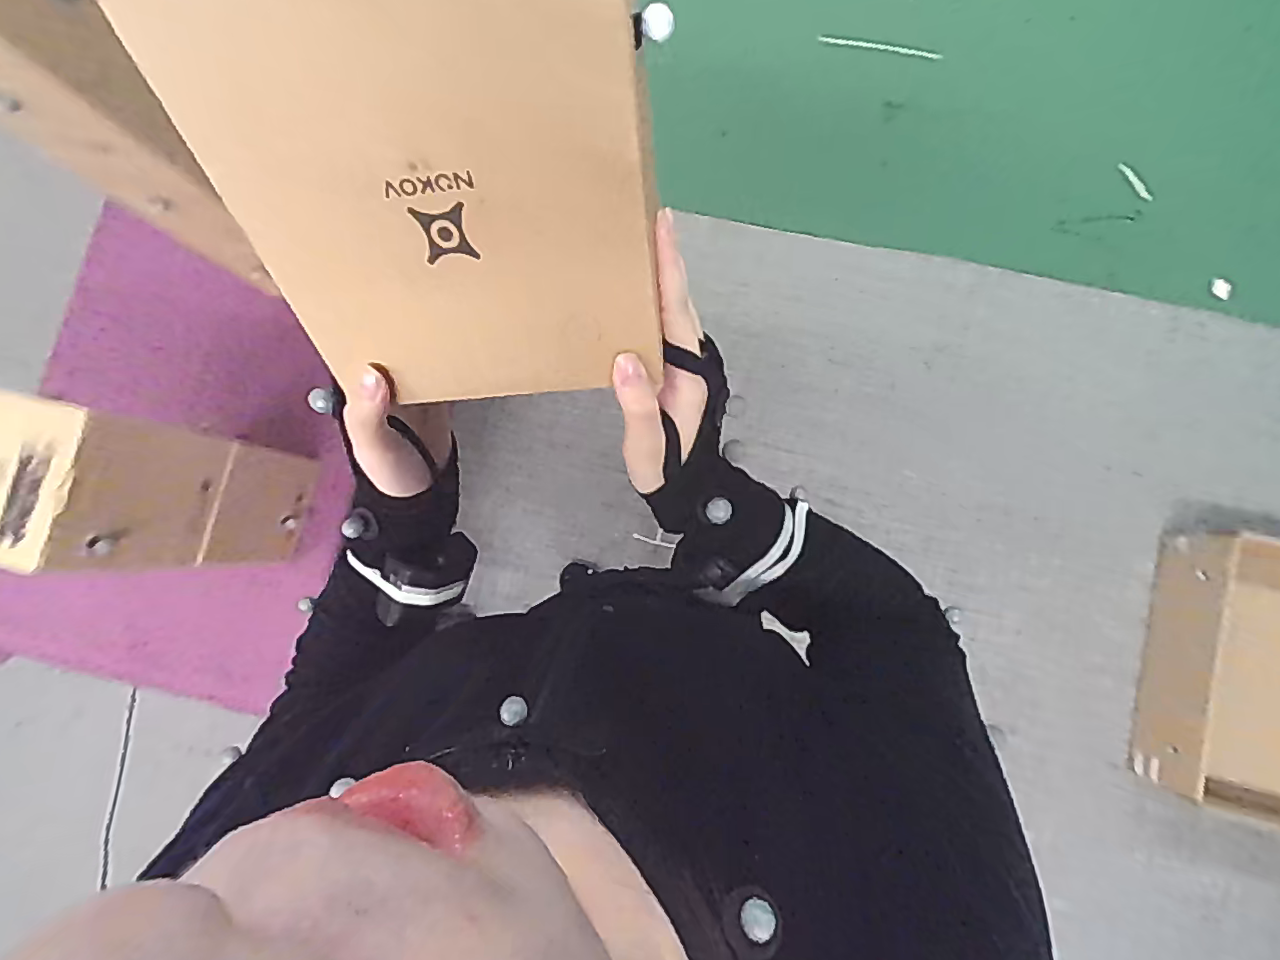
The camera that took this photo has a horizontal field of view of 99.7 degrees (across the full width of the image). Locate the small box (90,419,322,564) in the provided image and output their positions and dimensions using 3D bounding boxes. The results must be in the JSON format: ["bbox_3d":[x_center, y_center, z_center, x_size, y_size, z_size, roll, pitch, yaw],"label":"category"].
[{"bbox_3d":[-0.614,0.024,0.787,0.179,0.176,0.168,12,84,6],"label":"small box"}]
